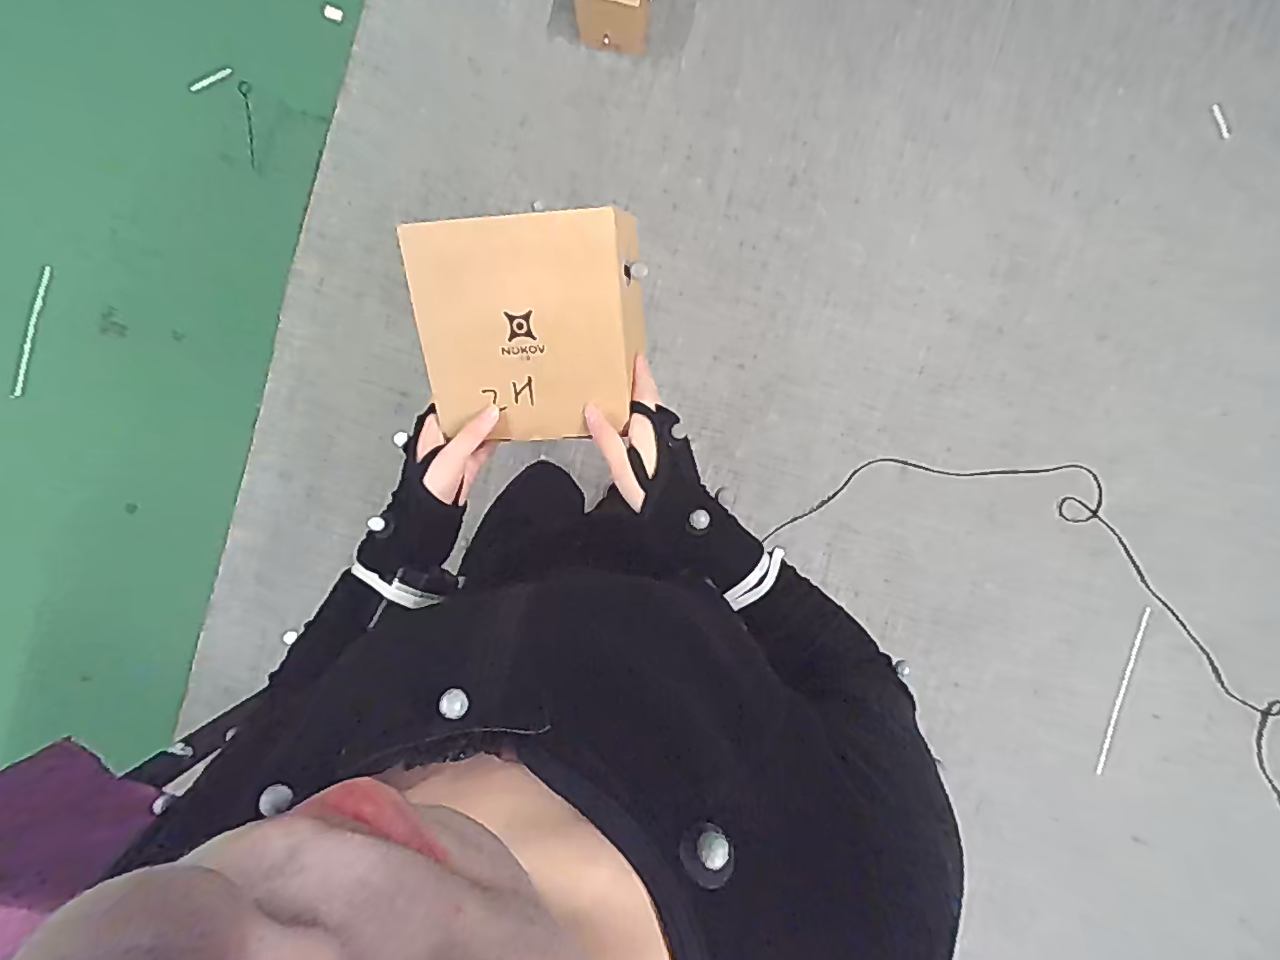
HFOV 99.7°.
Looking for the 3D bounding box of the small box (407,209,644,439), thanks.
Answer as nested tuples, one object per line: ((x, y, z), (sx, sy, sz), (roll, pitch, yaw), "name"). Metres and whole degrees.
((-0.087, -0.147, 0.510), (0.168, 0.176, 0.179), (-1, 113, 7), "small box")
